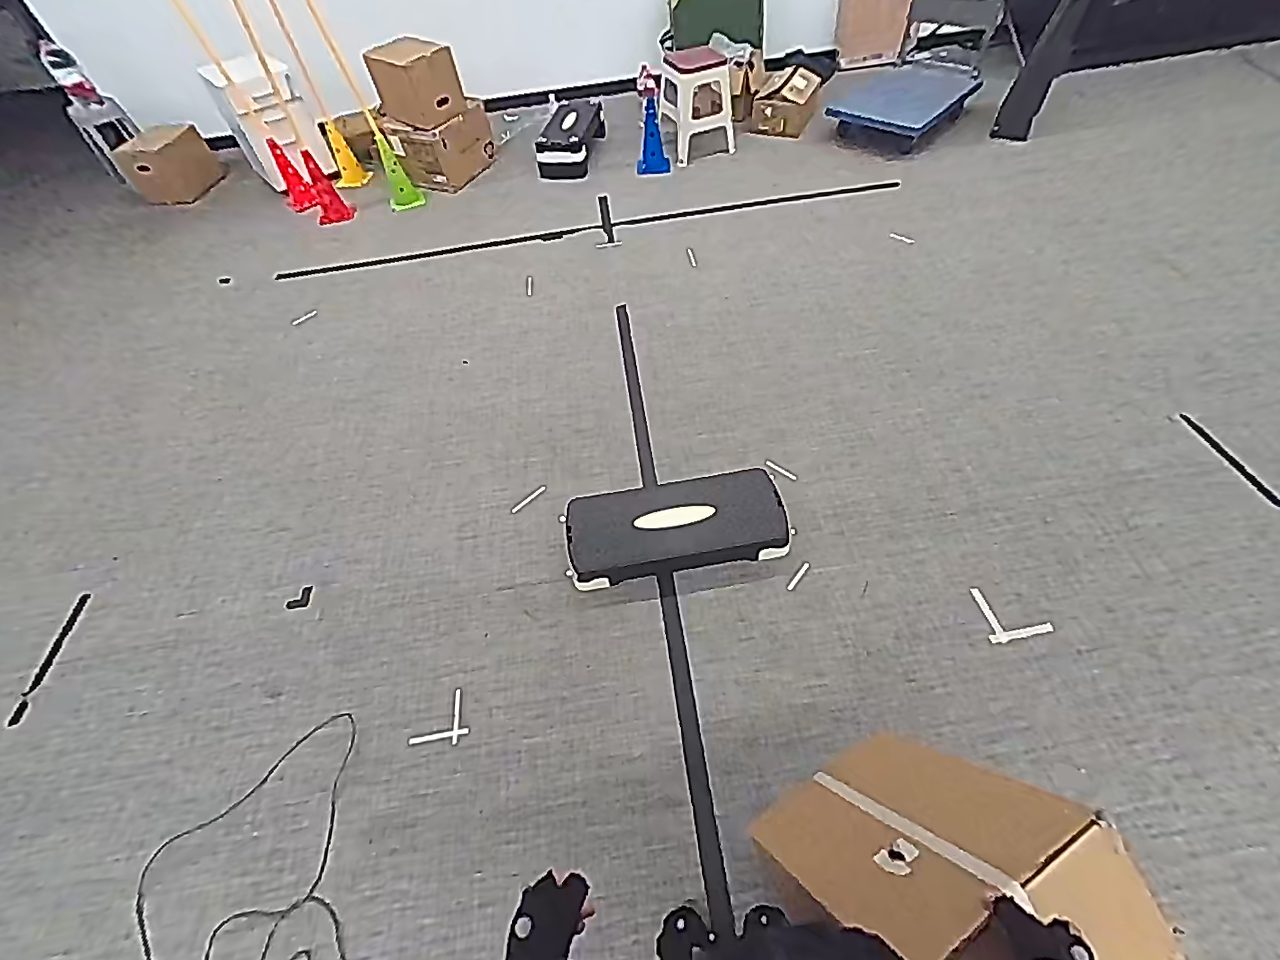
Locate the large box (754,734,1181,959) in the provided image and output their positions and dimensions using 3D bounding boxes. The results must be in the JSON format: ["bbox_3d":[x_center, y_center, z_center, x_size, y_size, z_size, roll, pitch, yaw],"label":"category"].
[{"bbox_3d":[0.430,0.623,0.758,0.320,0.408,0.320,-25,85,-17],"label":"large box"}]
